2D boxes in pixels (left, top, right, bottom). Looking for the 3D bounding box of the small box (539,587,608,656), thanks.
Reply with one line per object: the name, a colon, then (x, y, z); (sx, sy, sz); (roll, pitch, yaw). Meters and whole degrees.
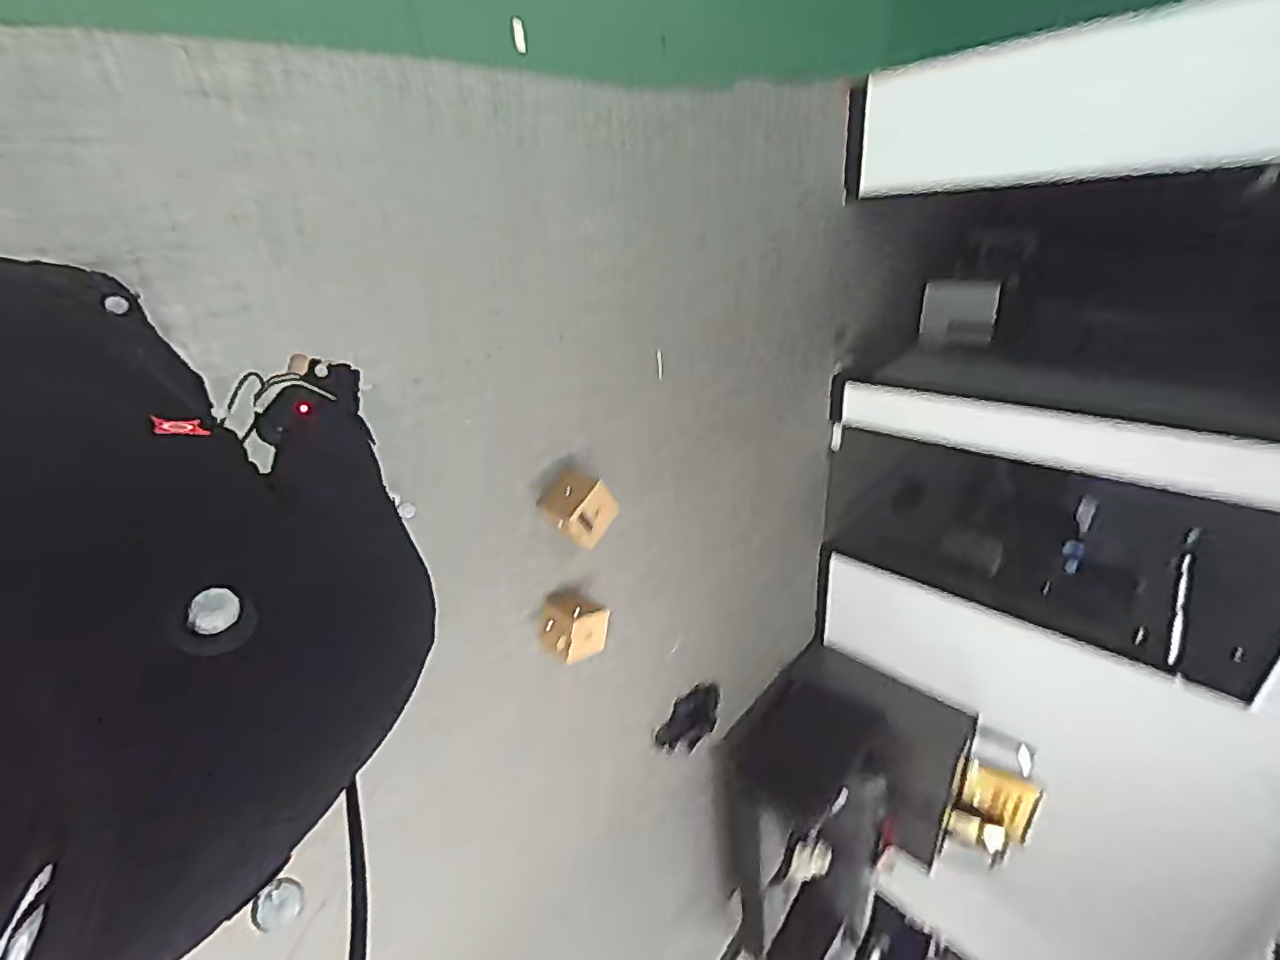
small box: (-0.244, 0.508, 1.972); (0.179, 0.176, 0.168); (-6, 111, -46)
